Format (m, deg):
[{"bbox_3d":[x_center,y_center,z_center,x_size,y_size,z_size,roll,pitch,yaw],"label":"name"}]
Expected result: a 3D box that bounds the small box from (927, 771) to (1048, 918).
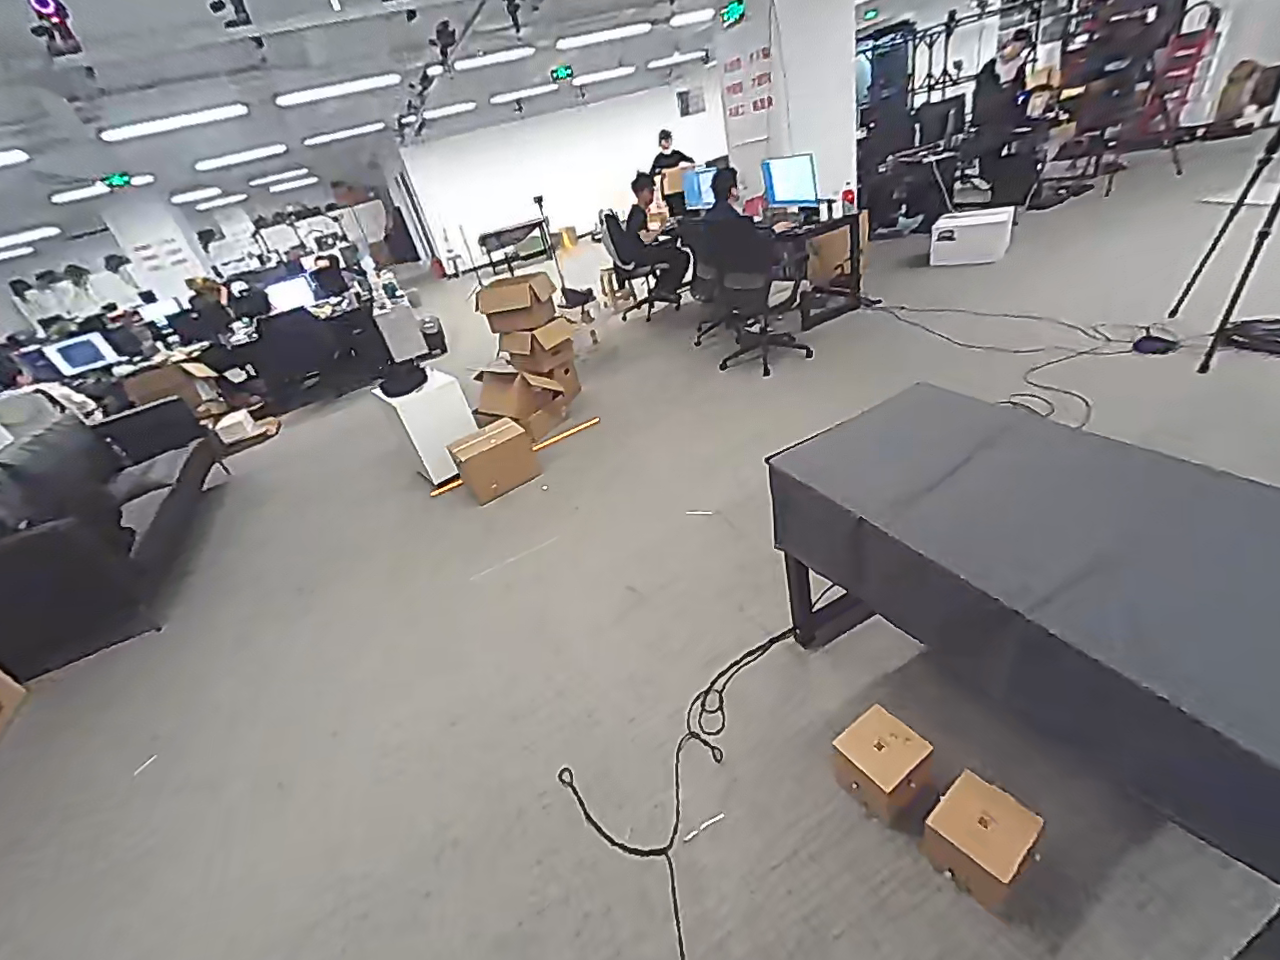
[{"bbox_3d":[0.758,0.804,1.197,0.179,0.176,0.168,-31,34,-25],"label":"small box"}]
